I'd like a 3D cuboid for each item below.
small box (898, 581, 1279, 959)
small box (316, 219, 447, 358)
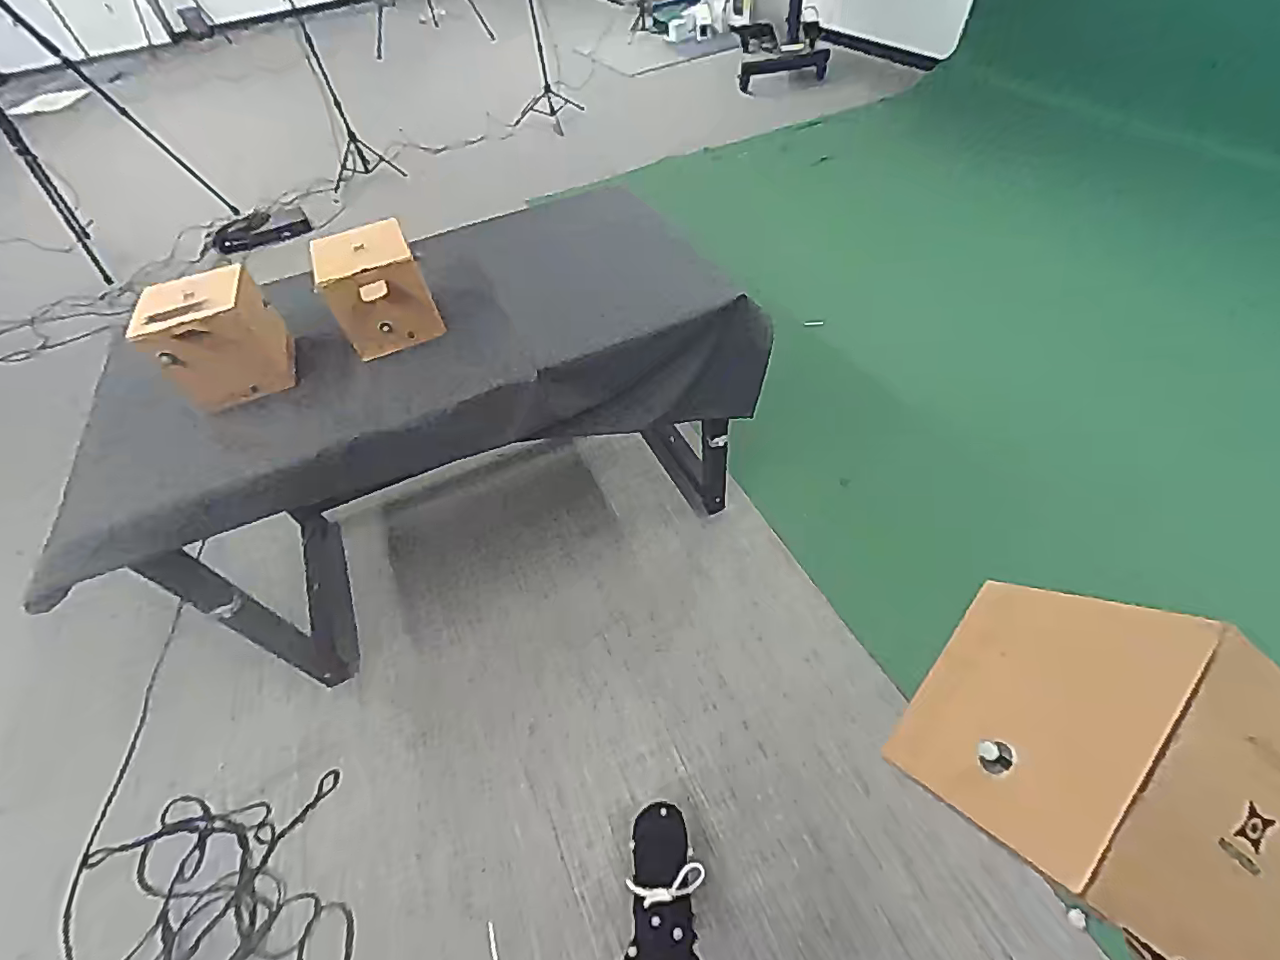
[{"bbox_3d":[0.321,0.195,0.381,0.168,0.176,0.179,38,81,-9],"label":"small box"},{"bbox_3d":[-0.493,-0.366,1.039,0.168,0.176,0.179,-23,53,-12],"label":"small box"}]
